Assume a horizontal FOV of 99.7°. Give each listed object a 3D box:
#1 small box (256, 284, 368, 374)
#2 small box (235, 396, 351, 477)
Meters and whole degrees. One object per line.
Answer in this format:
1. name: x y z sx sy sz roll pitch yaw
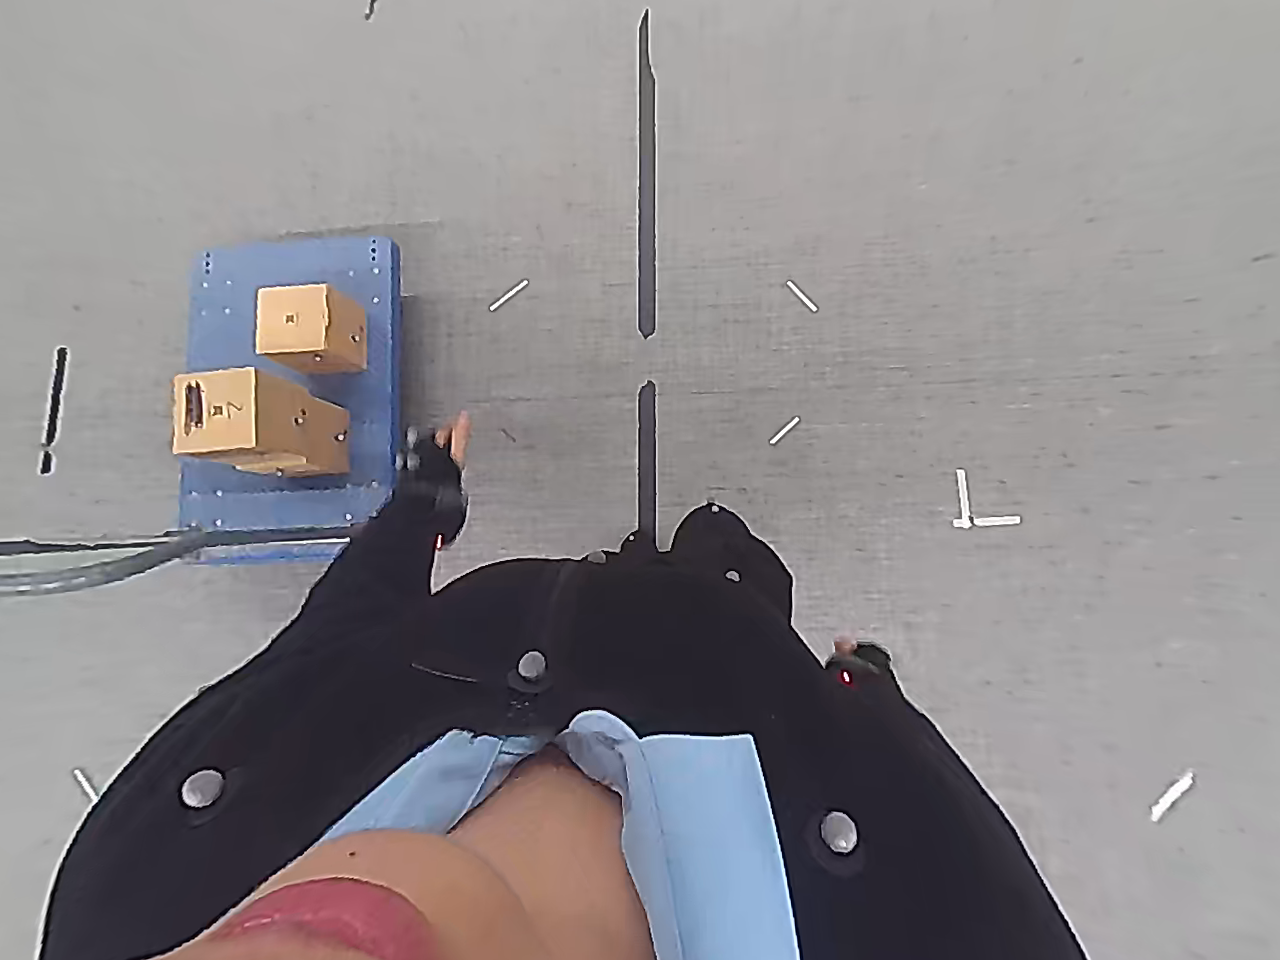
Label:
1. small box: -0.817 -0.371 1.358 0.179 0.176 0.168 -3 84 4
2. small box: -0.846 -0.101 1.329 0.179 0.176 0.168 -4 84 3
